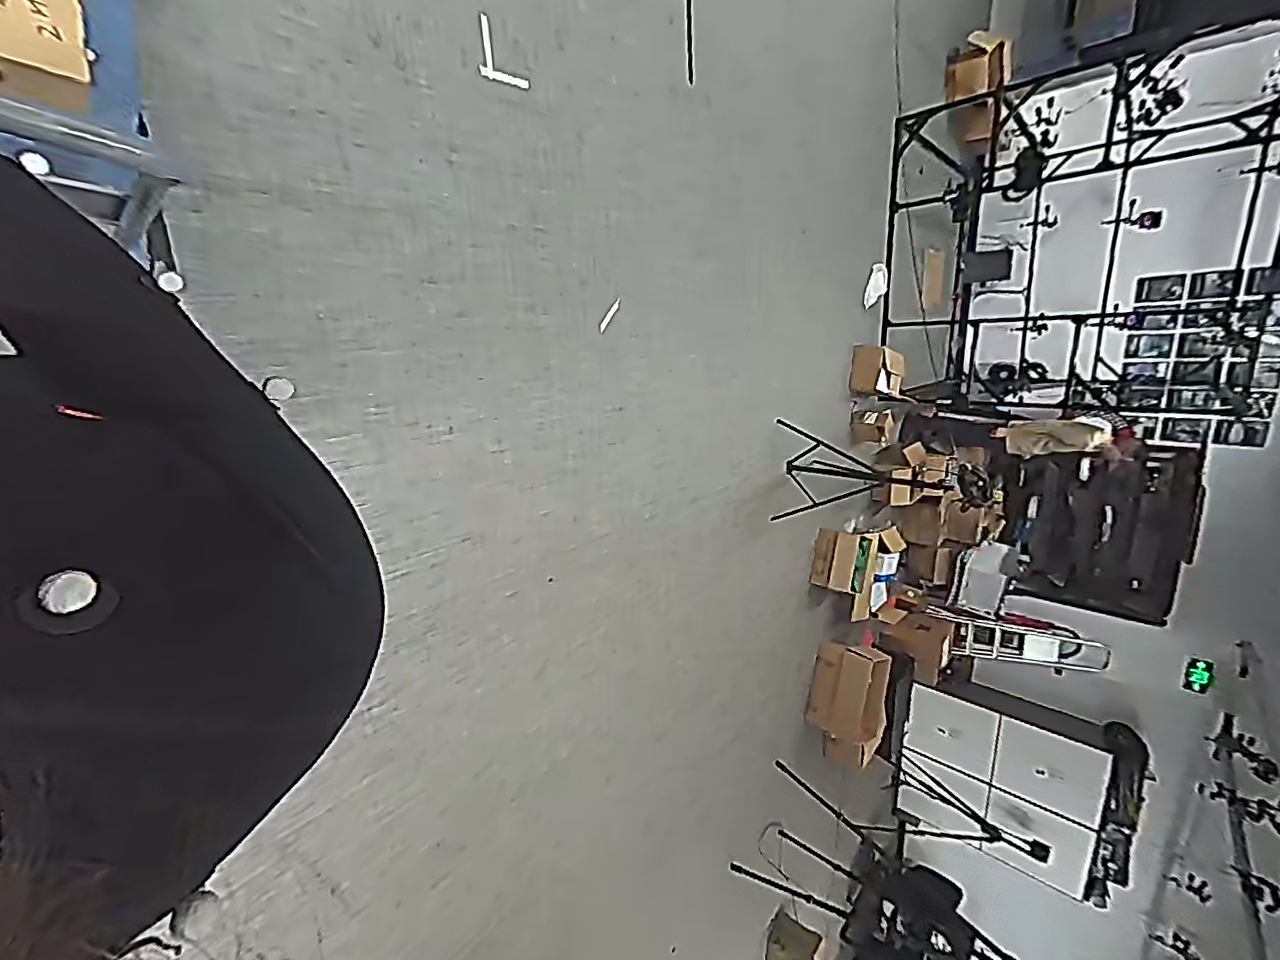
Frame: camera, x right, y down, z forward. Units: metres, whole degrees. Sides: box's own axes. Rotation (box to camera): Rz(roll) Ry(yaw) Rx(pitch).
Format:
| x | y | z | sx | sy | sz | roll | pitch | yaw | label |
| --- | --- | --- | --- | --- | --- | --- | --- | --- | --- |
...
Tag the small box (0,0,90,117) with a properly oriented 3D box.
| x | y | z | sx | sy | sz | roll | pitch | yaw | label |
| --- | --- | --- | --- | --- | --- | --- | --- | --- | --- |
| -0.914 | -0.650 | 0.764 | 0.179 | 0.176 | 0.168 | -10 | 105 | -47 | small box |
